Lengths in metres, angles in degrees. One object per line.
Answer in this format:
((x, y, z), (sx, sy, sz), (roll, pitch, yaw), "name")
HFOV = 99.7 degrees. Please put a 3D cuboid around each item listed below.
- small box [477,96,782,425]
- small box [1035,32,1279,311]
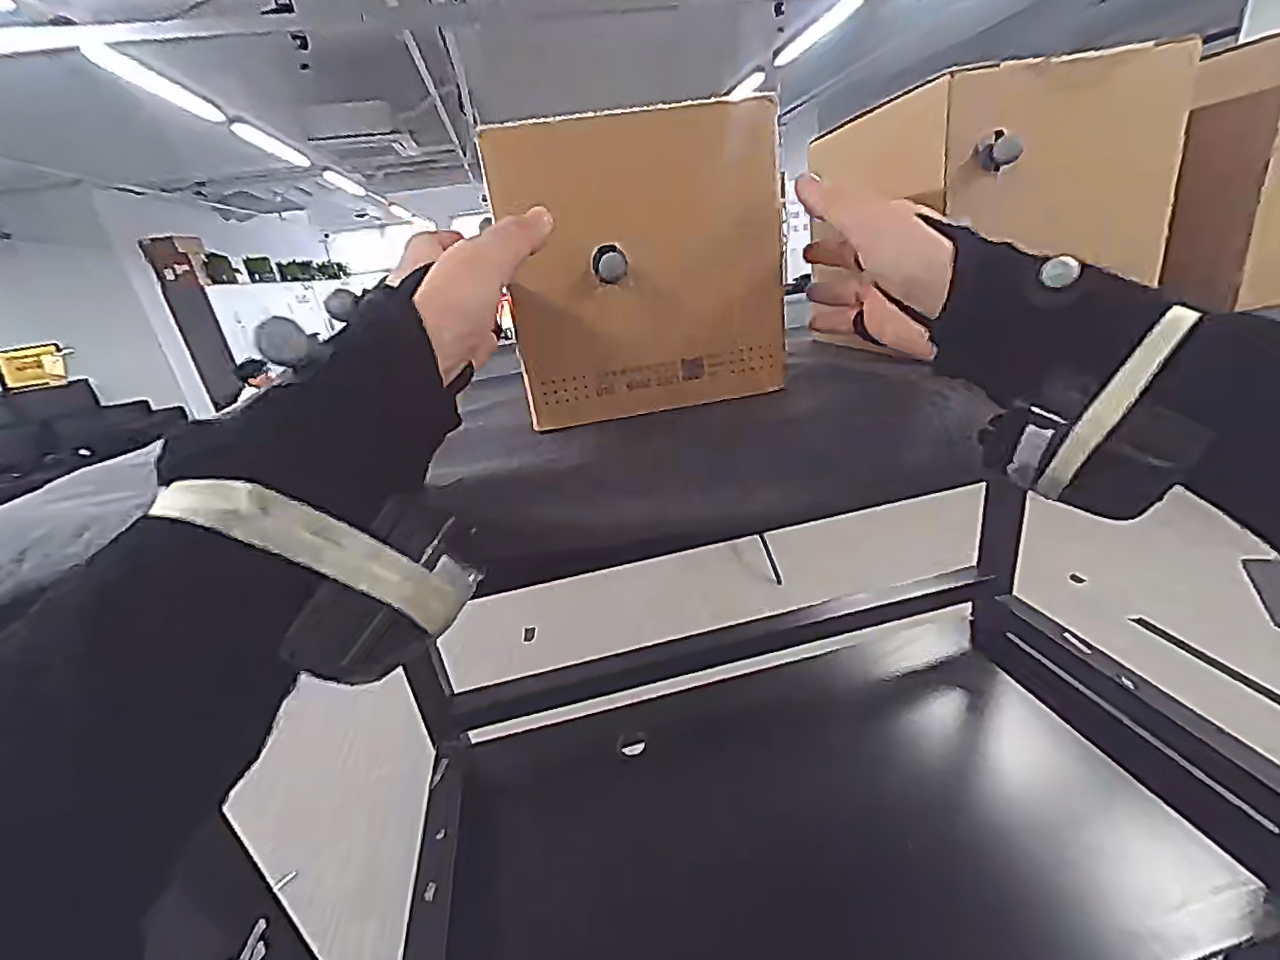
((-0.006, -0.144, 0.392), (0.168, 0.176, 0.179), (-11, 21, -6), "small box")
((0.464, -0.235, 0.437), (0.168, 0.176, 0.179), (-12, 22, -6), "small box")
